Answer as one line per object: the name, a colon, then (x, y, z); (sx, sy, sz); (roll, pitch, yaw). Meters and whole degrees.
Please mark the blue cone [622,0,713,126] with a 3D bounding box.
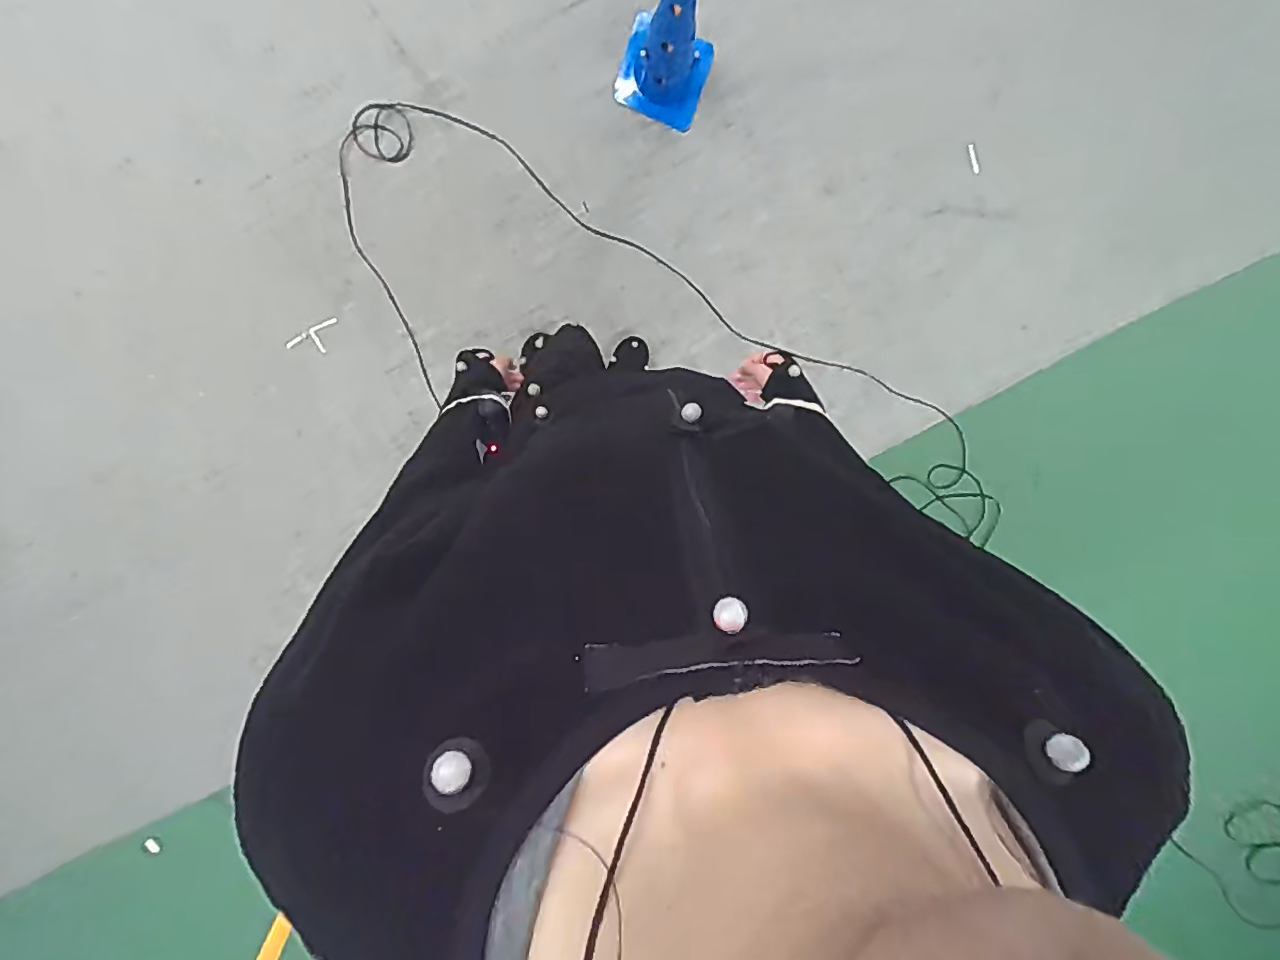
blue cone: (0.073, -0.914, 1.100); (0.192, 0.380, 0.193); (17, 100, -7)
